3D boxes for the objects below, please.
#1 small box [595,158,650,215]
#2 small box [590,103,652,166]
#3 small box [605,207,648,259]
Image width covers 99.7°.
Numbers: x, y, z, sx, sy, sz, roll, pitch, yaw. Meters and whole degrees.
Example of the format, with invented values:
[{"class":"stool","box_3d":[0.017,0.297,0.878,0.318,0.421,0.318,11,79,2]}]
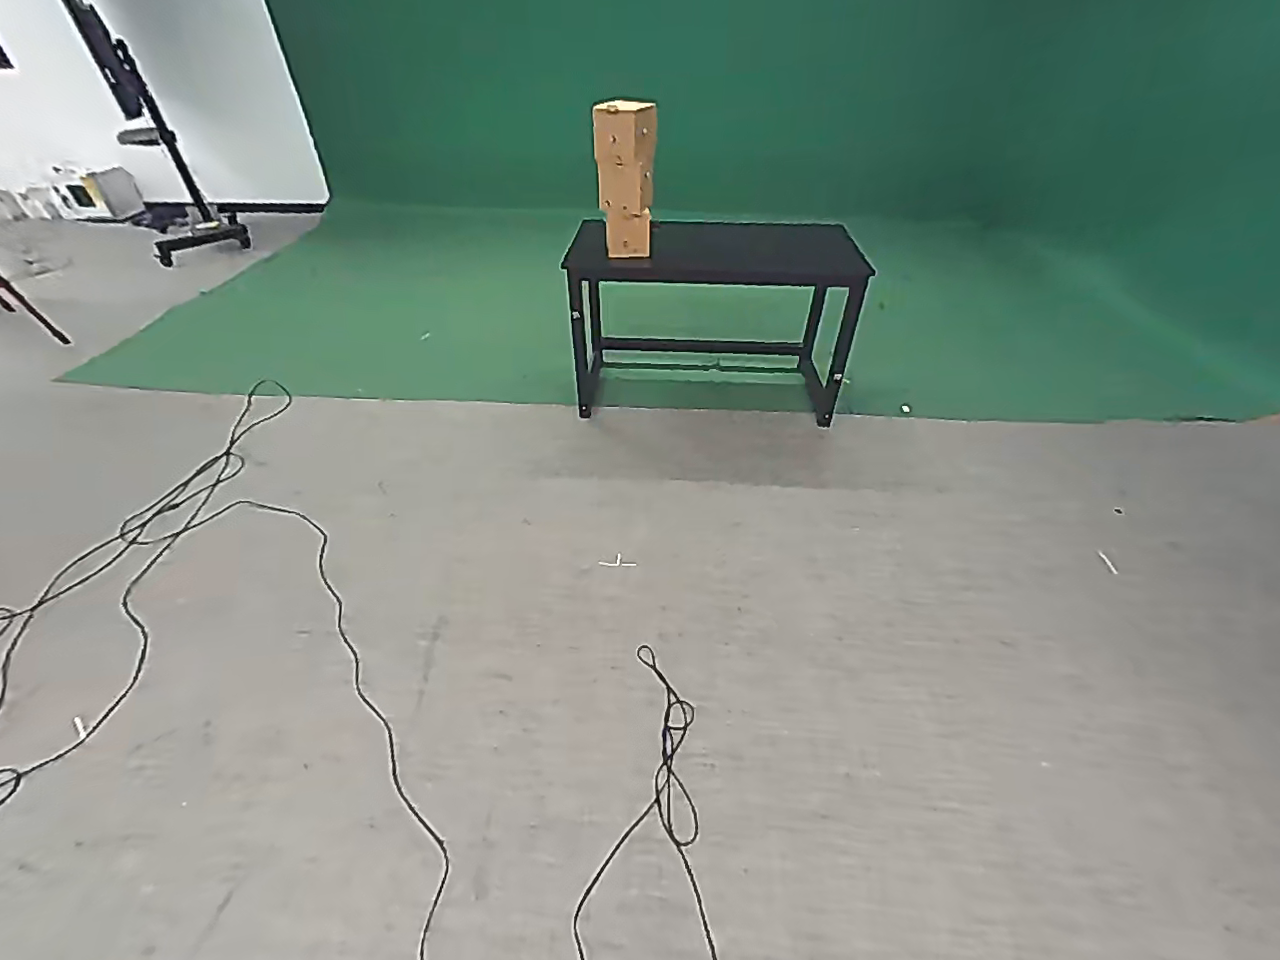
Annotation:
[{"class":"small box","box_3d":[-0.063,-1.134,2.079,0.168,0.176,0.179,12,42,12]},{"class":"small box","box_3d":[-0.065,-1.262,1.975,0.168,0.176,0.179,20,46,19]},{"class":"small box","box_3d":[-0.059,-1.010,2.187,0.168,0.176,0.179,-3,42,-4]}]
